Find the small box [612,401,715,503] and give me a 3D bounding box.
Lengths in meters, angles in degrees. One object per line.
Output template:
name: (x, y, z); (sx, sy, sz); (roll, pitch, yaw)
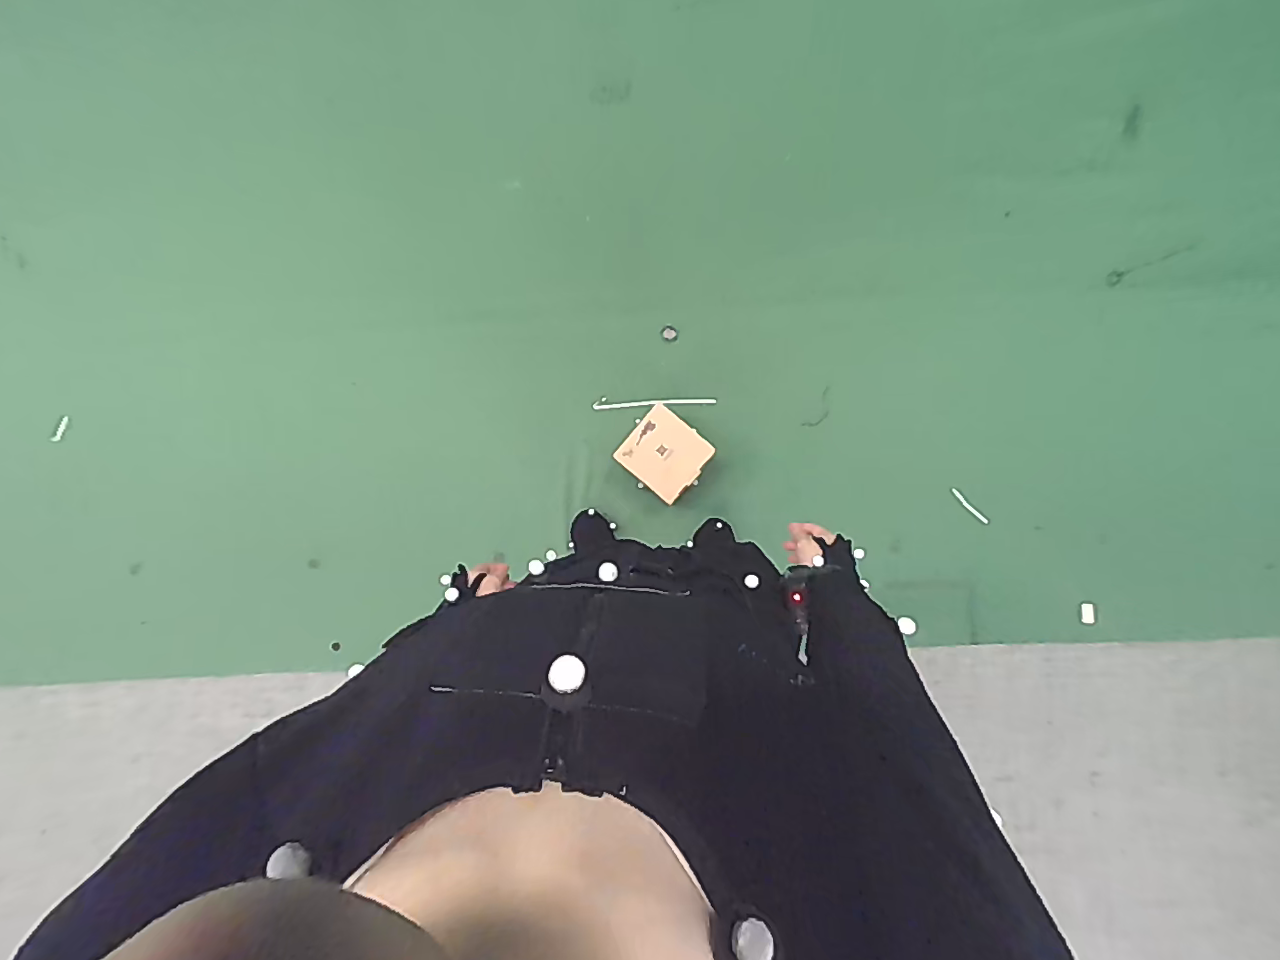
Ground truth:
small box: (0.057, -0.064, 1.291); (0.179, 0.176, 0.168); (41, 90, 3)
